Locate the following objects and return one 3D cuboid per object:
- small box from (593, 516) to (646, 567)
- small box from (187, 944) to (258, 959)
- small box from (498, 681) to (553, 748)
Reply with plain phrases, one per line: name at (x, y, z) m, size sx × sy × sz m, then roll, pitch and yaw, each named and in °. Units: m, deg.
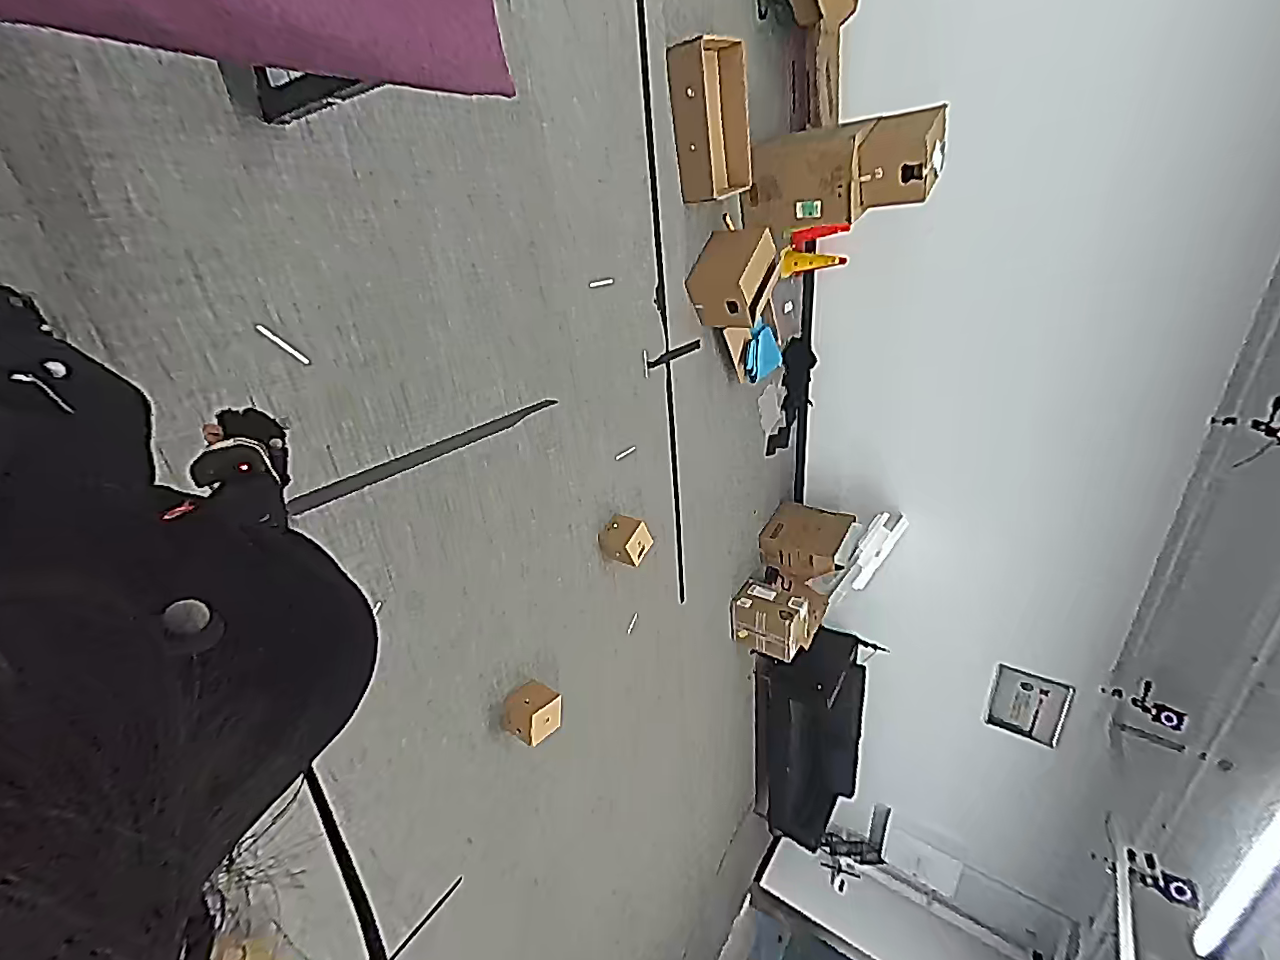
small box at (-0.100, 0.296, 2.651) m, size 0.168 × 0.176 × 0.179 m, roll -55°, pitch 140°, yaw -30°
small box at (-1.160, 1.397, 1.458) m, size 0.168 × 0.176 × 0.179 m, roll -59°, pitch 142°, yaw -26°
small box at (-0.494, 1.003, 2.325) m, size 0.179 × 0.176 × 0.168 m, roll -19°, pitch 118°, yaw -53°
